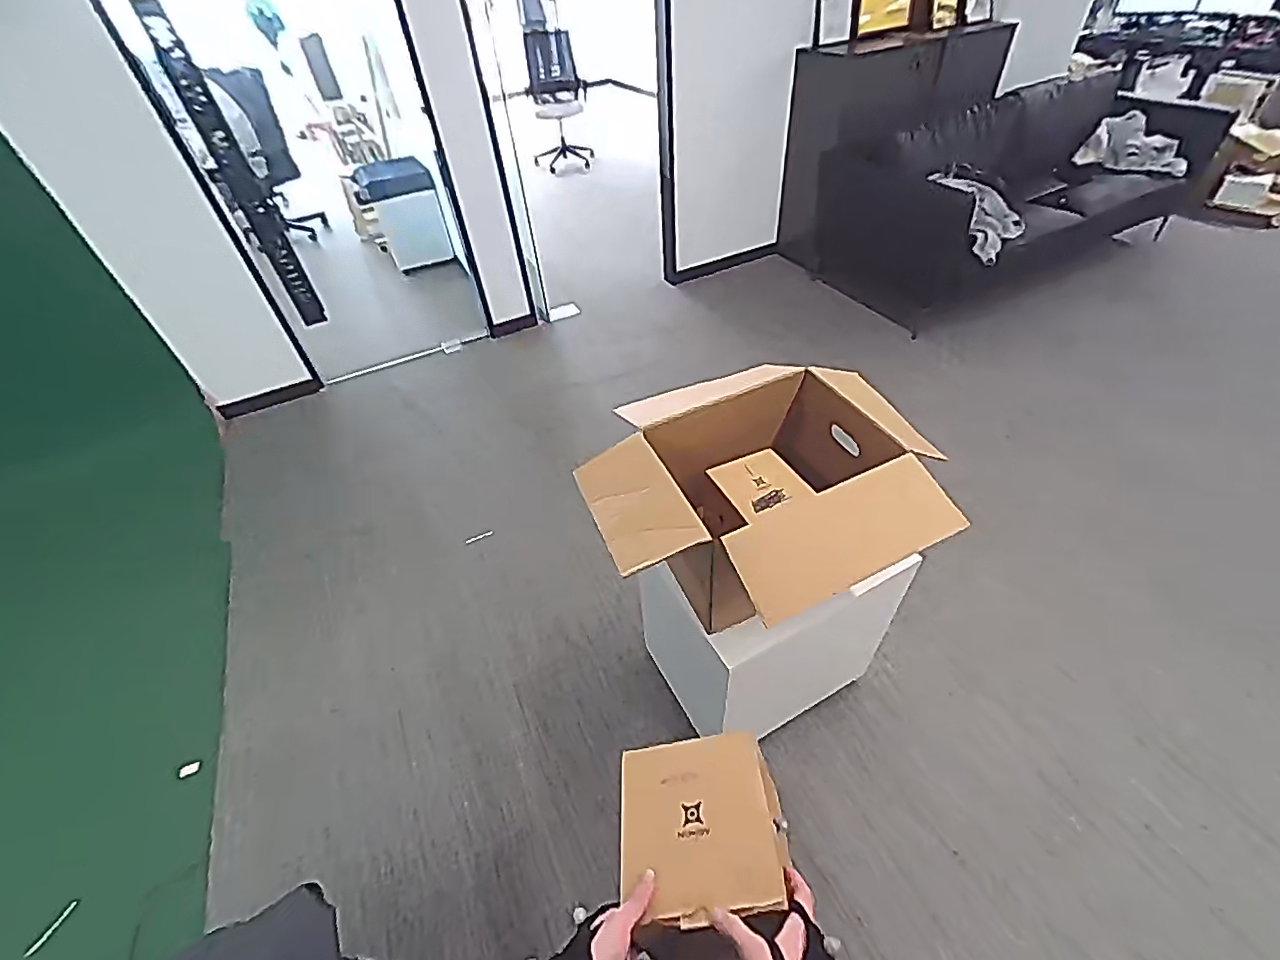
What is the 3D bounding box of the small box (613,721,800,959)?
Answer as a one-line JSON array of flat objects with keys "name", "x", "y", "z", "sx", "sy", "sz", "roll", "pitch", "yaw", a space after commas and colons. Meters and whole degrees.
[{"name": "small box", "x": 0.074, "y": 0.416, "z": 0.622, "sx": 0.168, "sy": 0.176, "sz": 0.179, "roll": -15, "pitch": 32, "yaw": 9}]
